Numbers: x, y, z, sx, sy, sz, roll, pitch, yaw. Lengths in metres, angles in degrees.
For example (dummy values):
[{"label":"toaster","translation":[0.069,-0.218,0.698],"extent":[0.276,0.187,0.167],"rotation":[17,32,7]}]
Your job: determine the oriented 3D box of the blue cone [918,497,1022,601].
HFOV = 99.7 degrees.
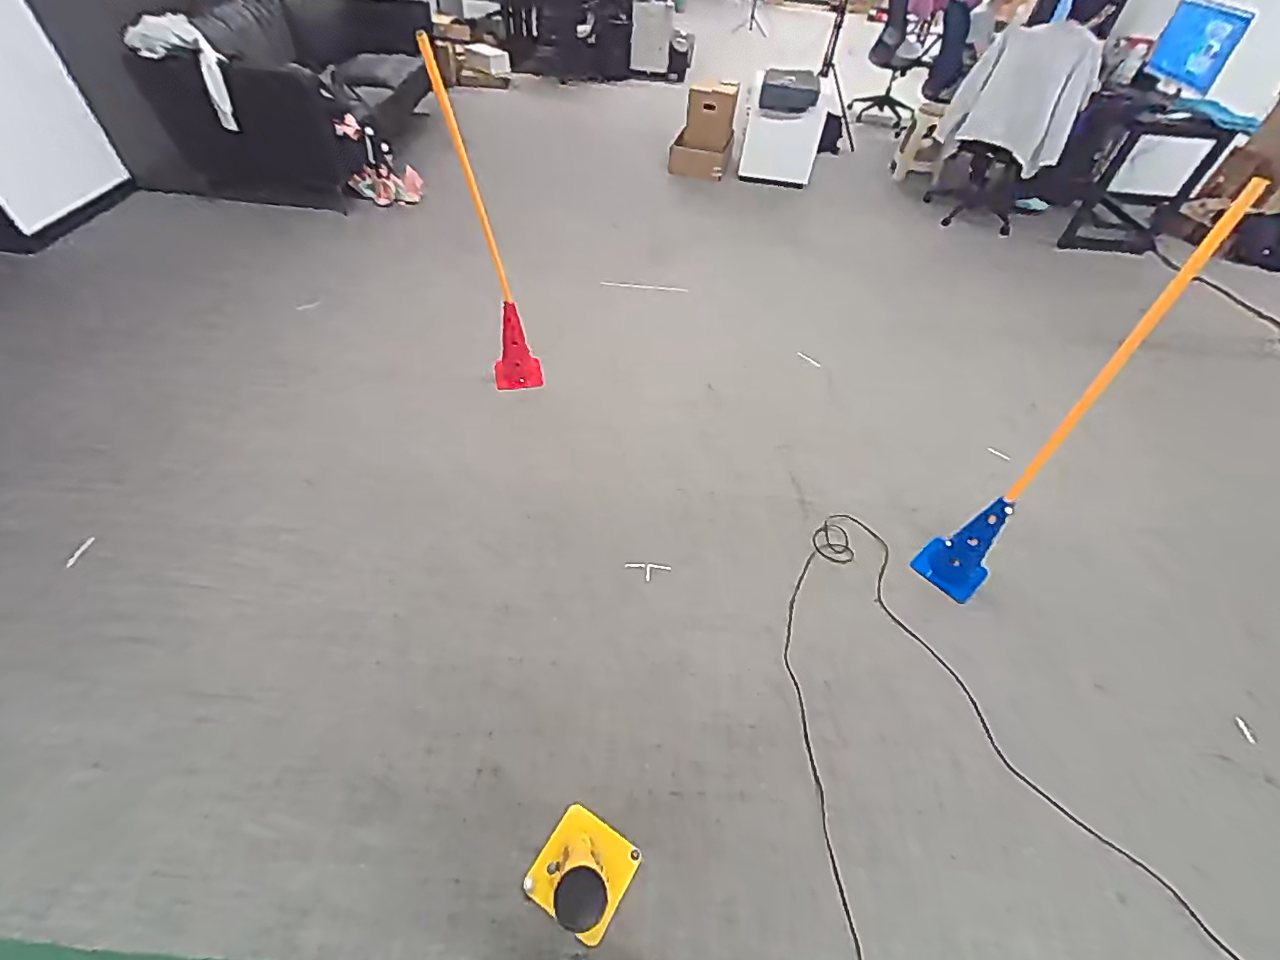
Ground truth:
[{"label":"blue cone","translation":[1.055,0.184,1.687],"extent":[0.193,0.380,0.192],"rotation":[-31,57,-31]}]
